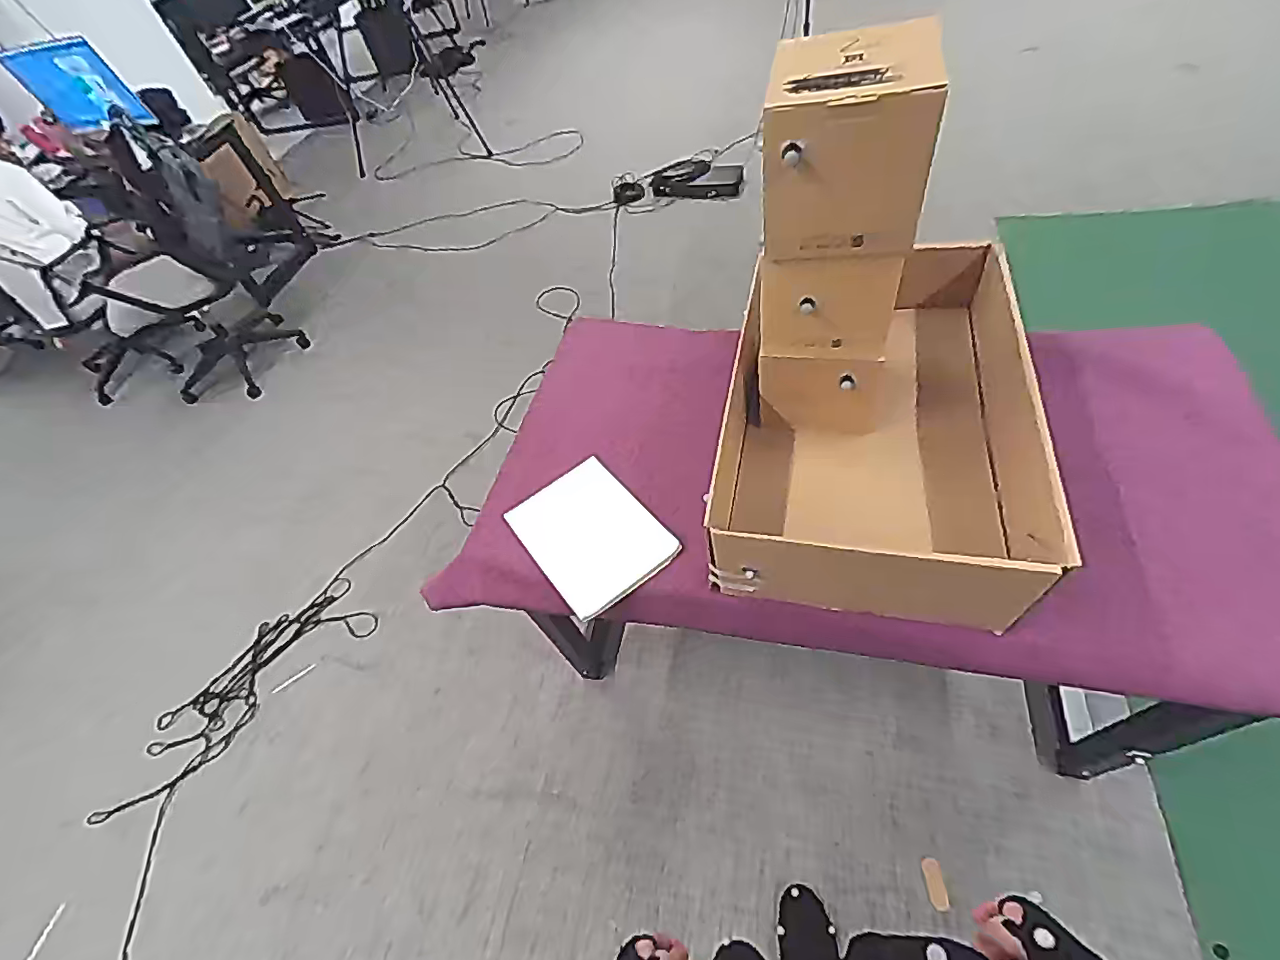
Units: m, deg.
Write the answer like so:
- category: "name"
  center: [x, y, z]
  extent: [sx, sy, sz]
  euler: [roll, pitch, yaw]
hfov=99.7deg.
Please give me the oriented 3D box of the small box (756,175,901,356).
- category: "small box"
  center: [0.260, -0.291, 0.754]
  extent: [0.168, 0.176, 0.179]
  euler: [6, 56, 18]
